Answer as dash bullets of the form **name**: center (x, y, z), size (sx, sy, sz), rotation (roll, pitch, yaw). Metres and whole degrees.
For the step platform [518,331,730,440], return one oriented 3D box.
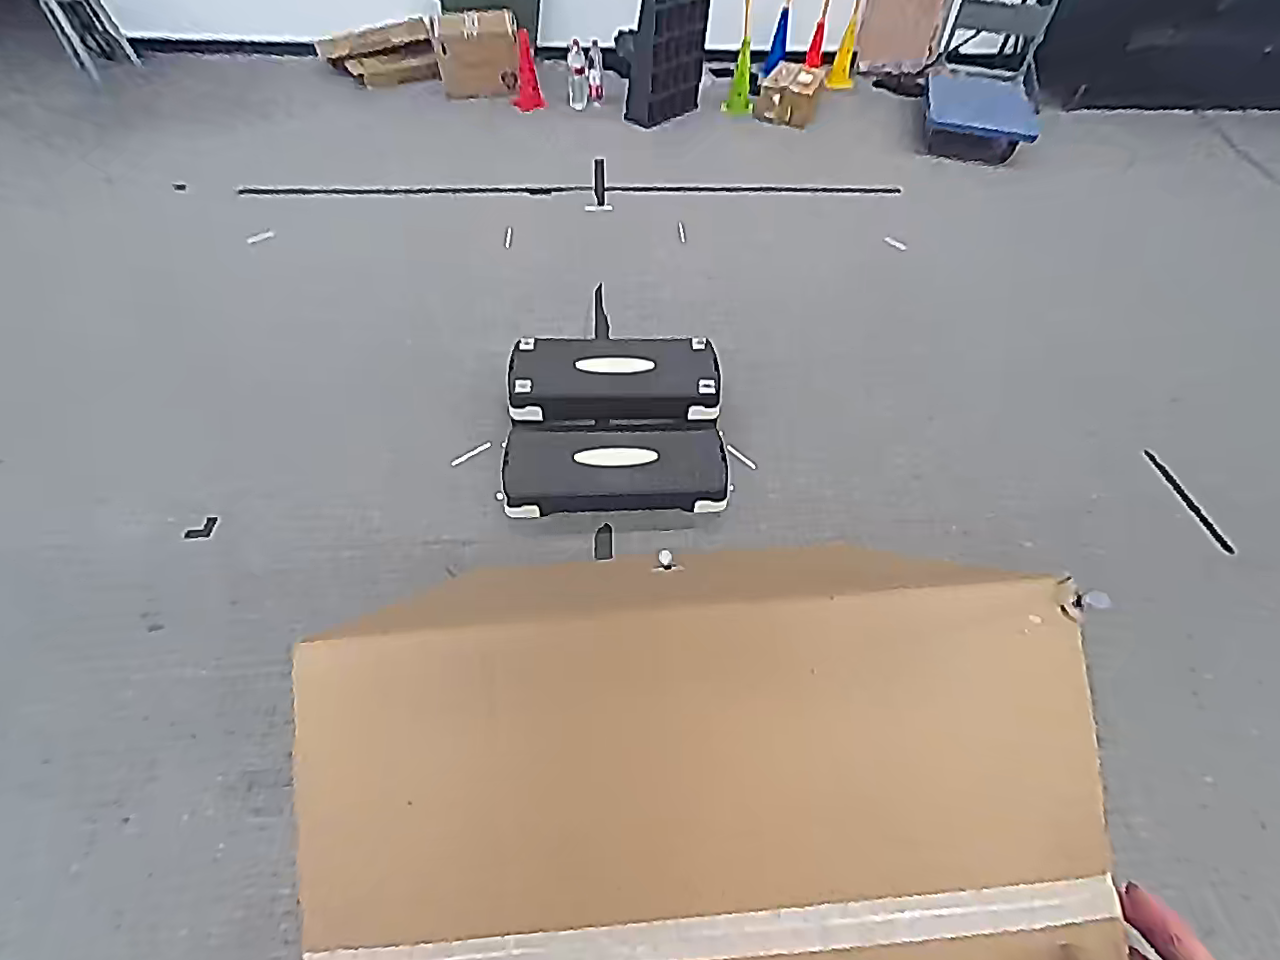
- **step platform**: center (-0.049, -0.313, 1.773), size (0.684, 0.204, 0.286), rotation (4, 53, -1)
